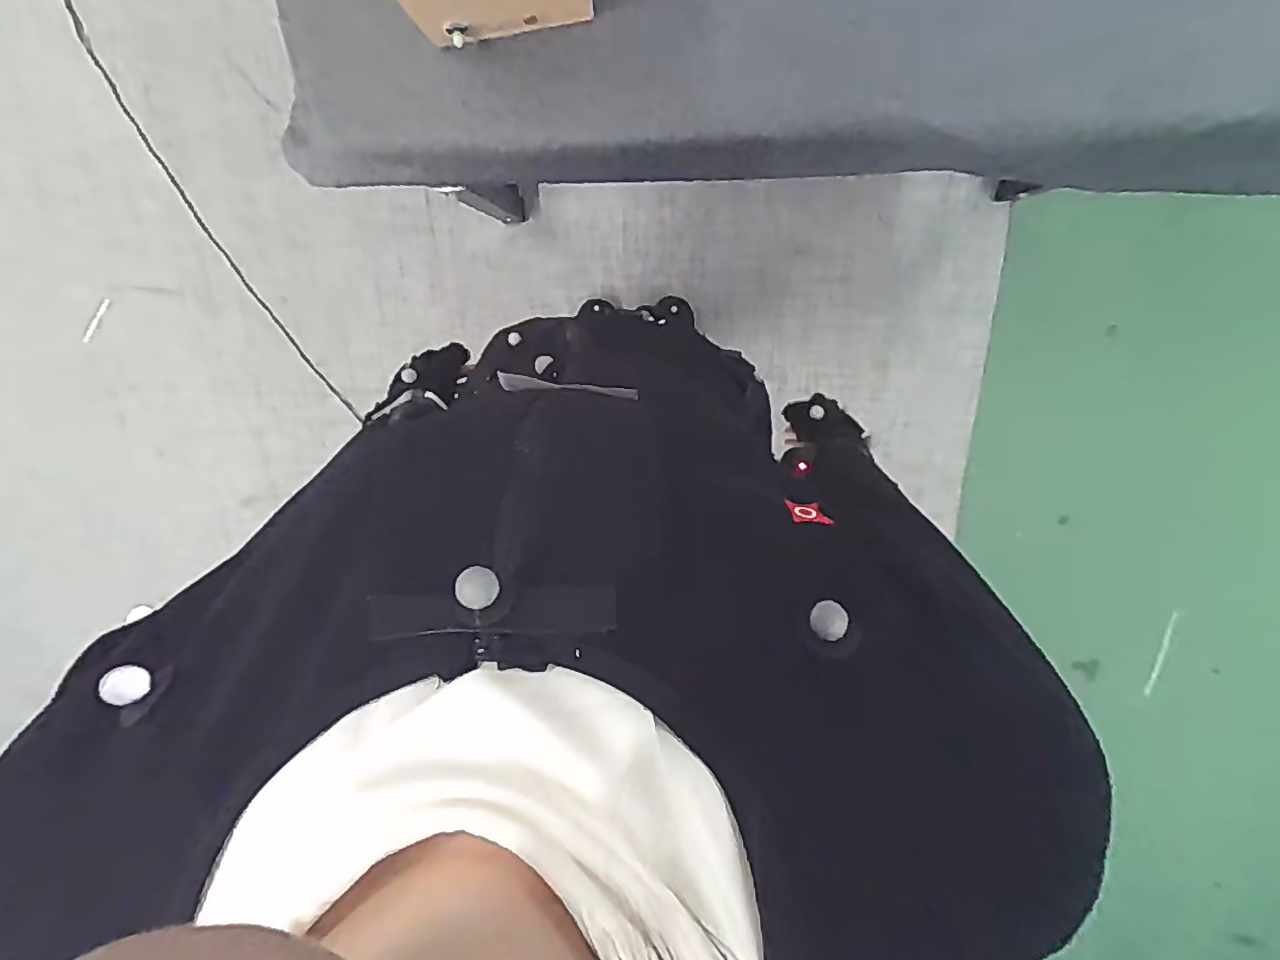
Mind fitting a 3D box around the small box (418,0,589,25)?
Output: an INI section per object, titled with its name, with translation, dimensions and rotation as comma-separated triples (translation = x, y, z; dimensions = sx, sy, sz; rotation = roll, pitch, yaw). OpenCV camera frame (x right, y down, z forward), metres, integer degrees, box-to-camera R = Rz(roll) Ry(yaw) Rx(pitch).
[small box]
translation = -0.137, -0.514, 0.440
dimensions = 0.168, 0.176, 0.179
rotation = -7, 107, 4
